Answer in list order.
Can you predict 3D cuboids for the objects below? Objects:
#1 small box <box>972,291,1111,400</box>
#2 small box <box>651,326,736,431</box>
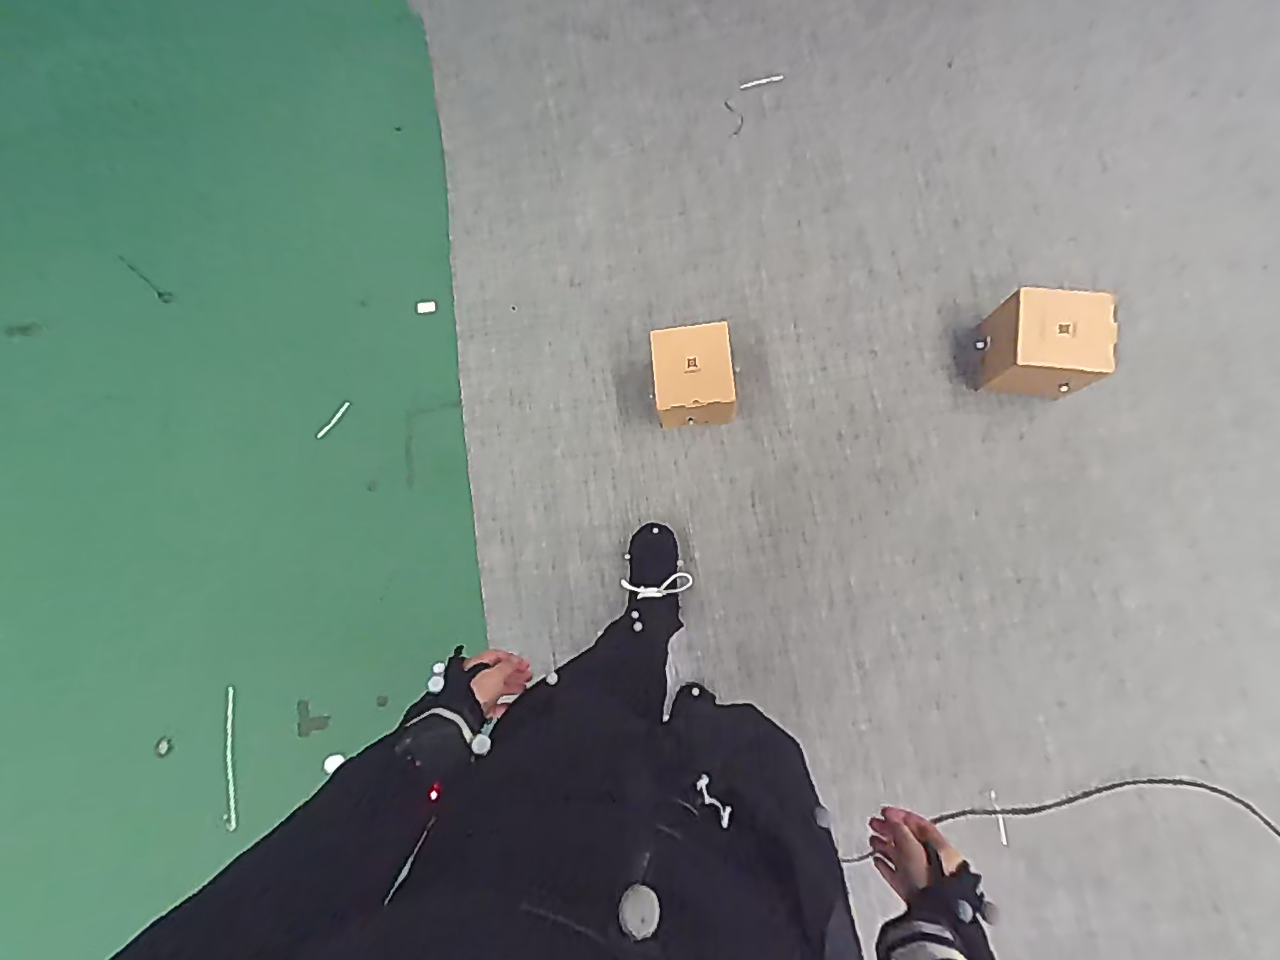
[{"bbox_3d":[0.832,-0.273,1.133,0.179,0.176,0.168,6,81,8],"label":"small box"},{"bbox_3d":[0.117,-0.219,1.204,0.168,0.176,0.179,-6,81,5],"label":"small box"}]
